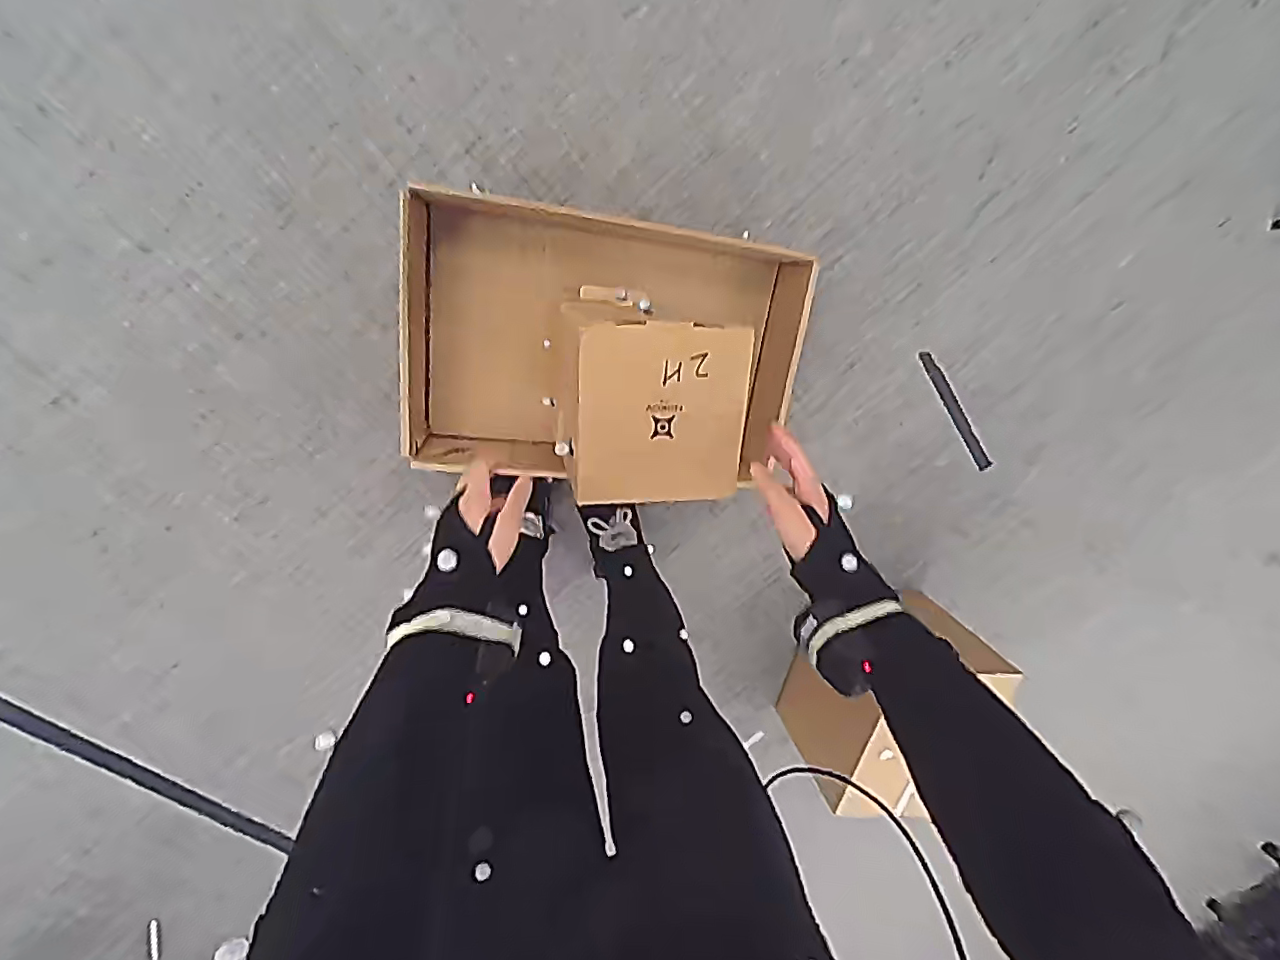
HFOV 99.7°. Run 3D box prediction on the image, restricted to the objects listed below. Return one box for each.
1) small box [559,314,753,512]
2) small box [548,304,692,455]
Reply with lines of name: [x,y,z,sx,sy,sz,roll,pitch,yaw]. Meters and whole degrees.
small box: [0.004,-0.080,0.590,0.168,0.176,0.179,-2,112,-14]
small box: [-0.036,-0.141,0.739,0.168,0.176,0.179,-2,110,-14]
